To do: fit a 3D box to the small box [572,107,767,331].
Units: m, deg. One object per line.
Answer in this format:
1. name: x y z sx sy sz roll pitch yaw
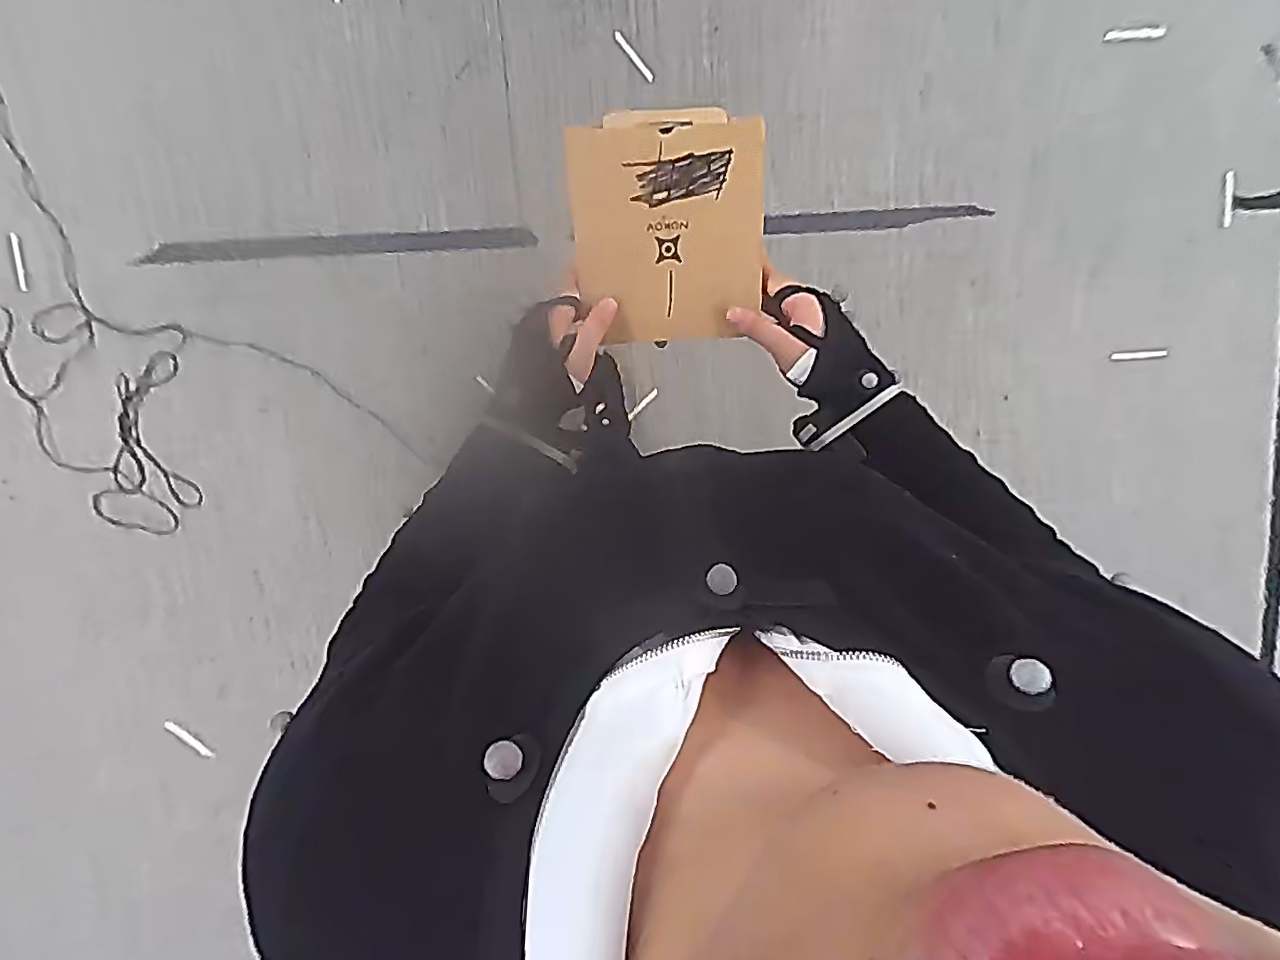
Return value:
1. small box: 0.026 -0.248 0.547 0.168 0.176 0.179 -2 110 1
